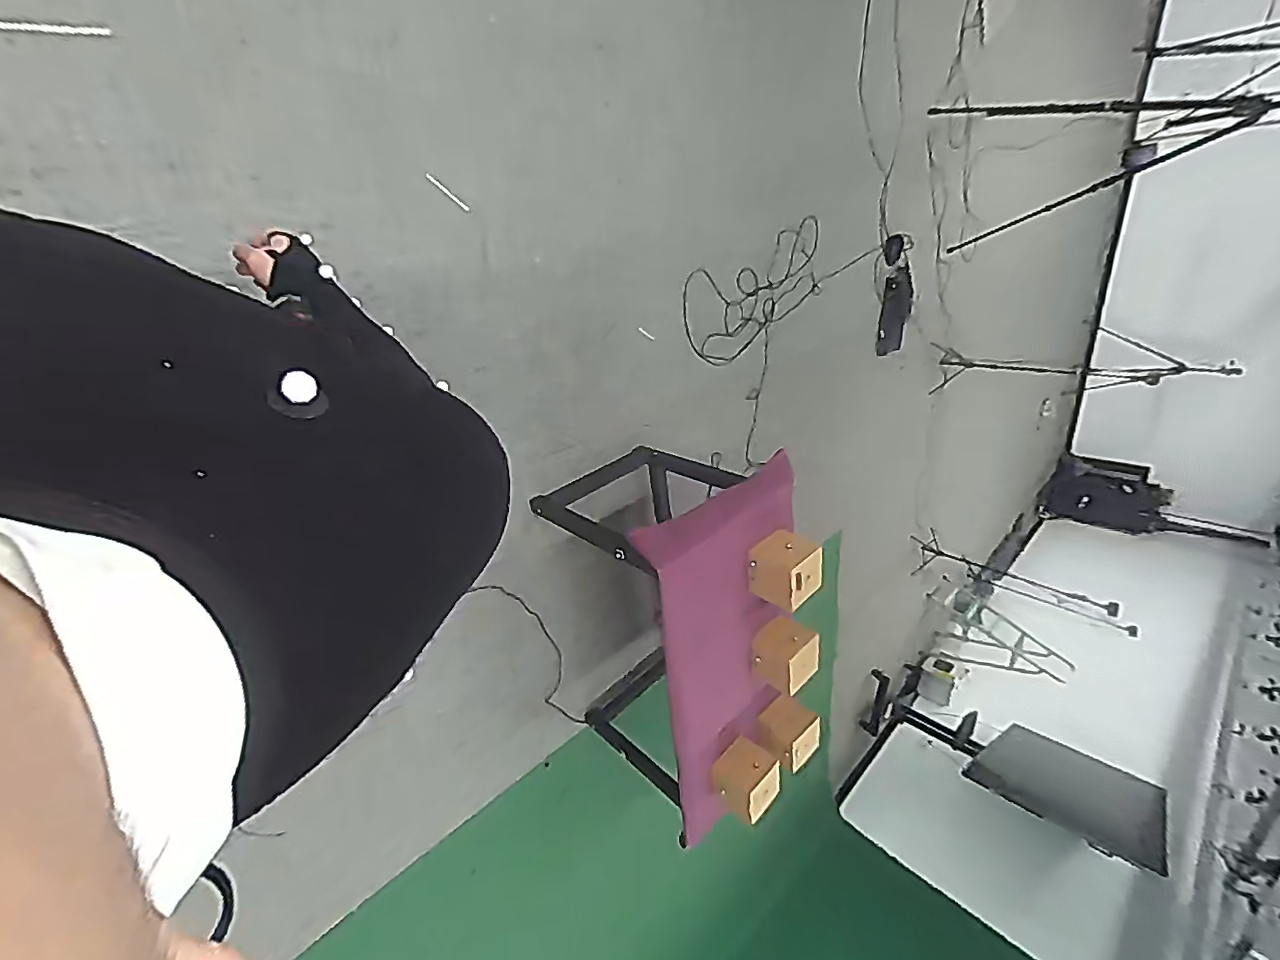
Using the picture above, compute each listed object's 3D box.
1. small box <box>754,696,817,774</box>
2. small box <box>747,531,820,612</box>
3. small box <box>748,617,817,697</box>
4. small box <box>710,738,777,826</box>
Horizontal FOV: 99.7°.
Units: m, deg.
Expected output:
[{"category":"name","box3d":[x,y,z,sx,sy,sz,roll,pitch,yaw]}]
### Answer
[{"category":"small box","box3d":[0.558,0.971,2.077,0.179,0.176,0.168,-27,120,-35]},{"category":"small box","box3d":[0.461,0.290,1.751,0.179,0.176,0.168,-28,122,-35]},{"category":"small box","box3d":[0.500,0.613,1.902,0.179,0.176,0.168,-26,120,-35]},{"category":"small box","box3d":[0.368,1.063,1.922,0.179,0.176,0.168,-26,119,-37]}]
